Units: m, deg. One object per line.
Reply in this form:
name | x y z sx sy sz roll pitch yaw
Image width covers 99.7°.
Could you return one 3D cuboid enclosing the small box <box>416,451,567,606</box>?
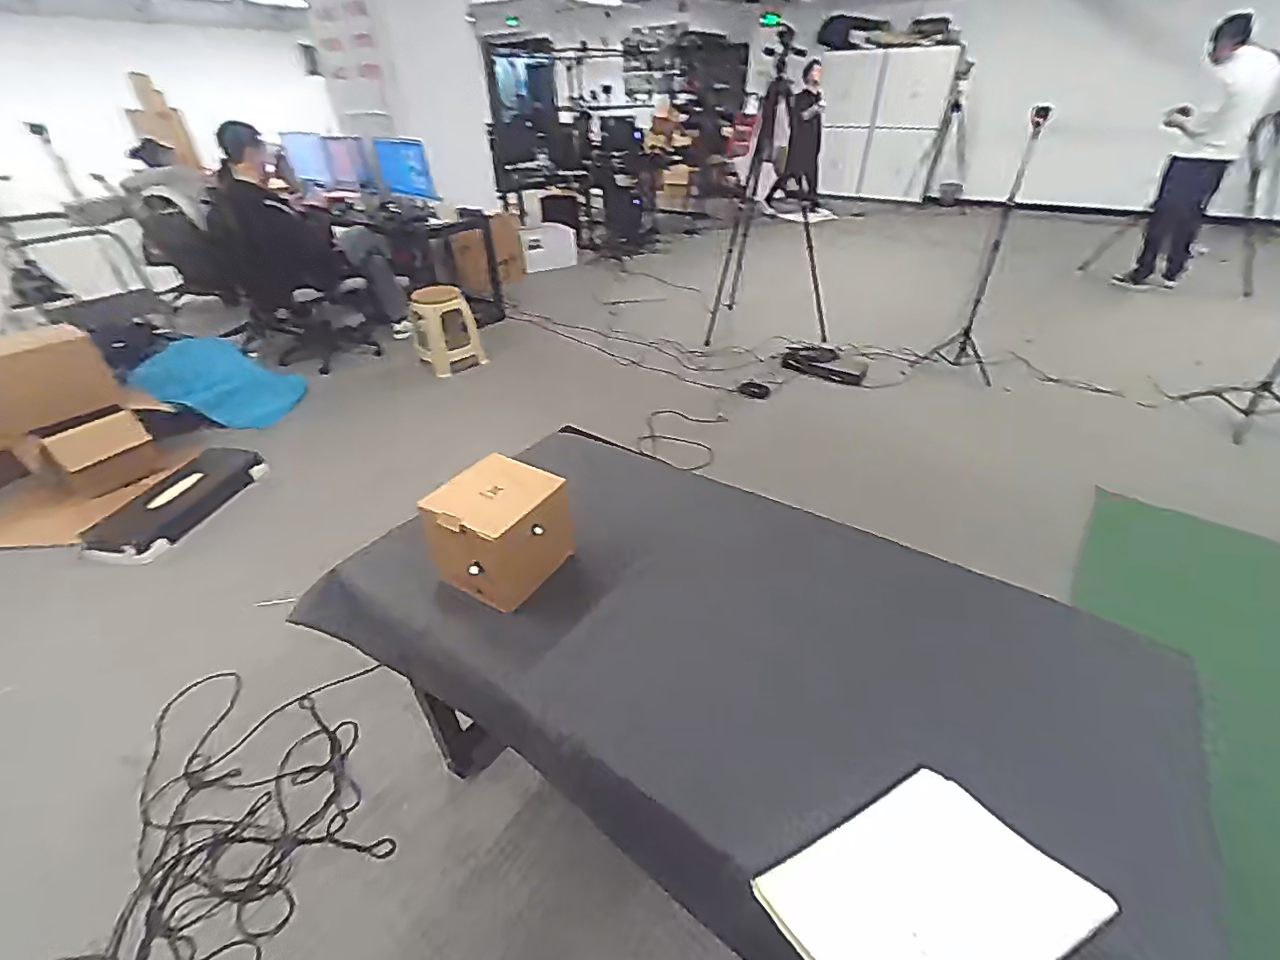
small box | -0.237 0.080 0.912 0.168 0.176 0.179 19 39 24
